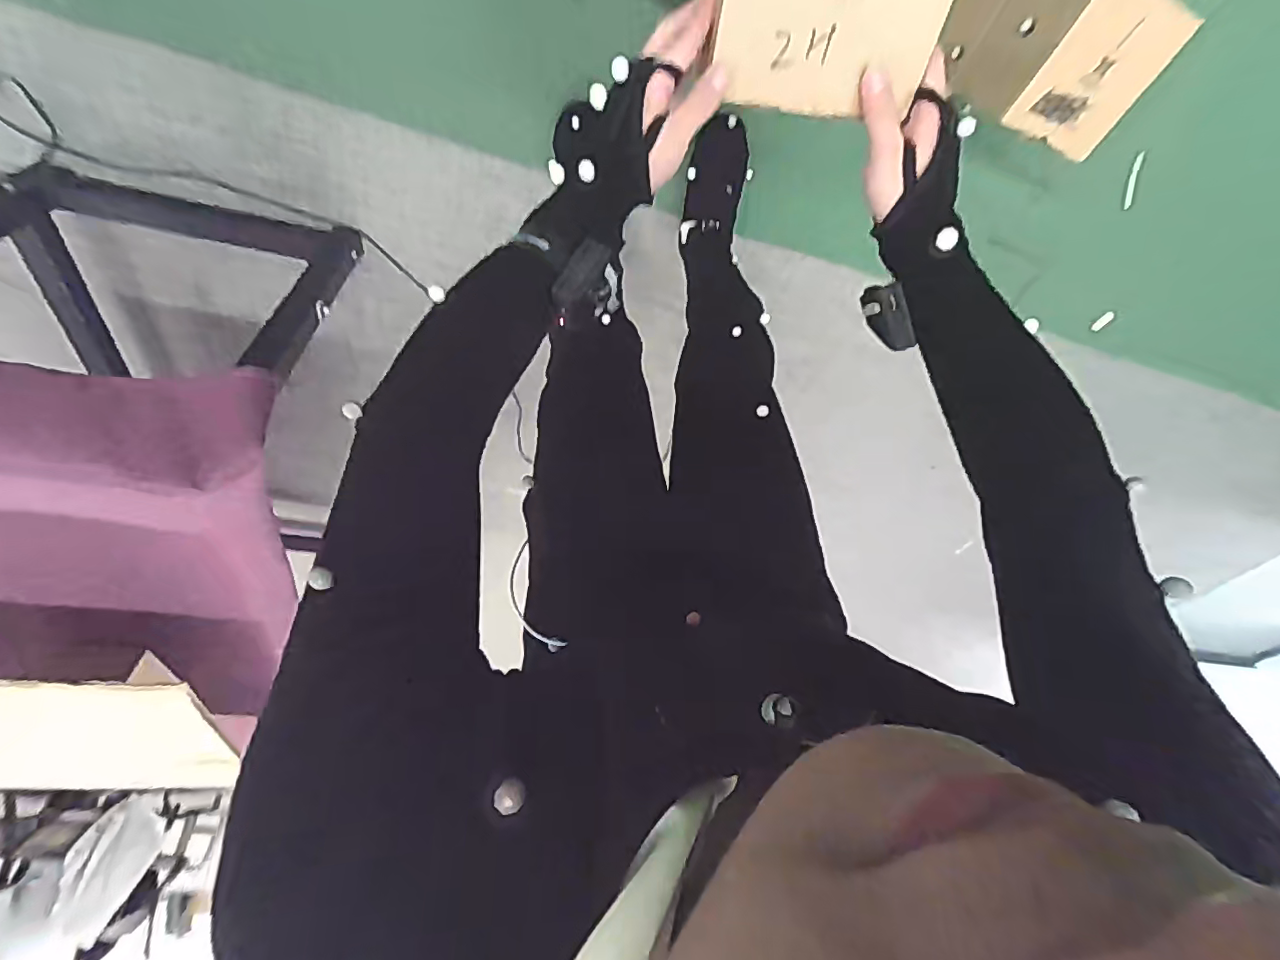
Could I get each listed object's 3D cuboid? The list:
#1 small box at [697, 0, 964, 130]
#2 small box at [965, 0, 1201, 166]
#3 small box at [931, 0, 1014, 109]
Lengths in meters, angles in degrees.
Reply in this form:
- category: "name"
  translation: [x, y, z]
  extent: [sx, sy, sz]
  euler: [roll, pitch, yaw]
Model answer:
- category: "small box"
  translation: [0.144, -0.403, 0.421]
  extent: [0.168, 0.176, 0.179]
  euler: [4, 135, -6]
- category: "small box"
  translation: [0.609, -0.599, 0.777]
  extent: [0.168, 0.176, 0.179]
  euler: [12, 136, -18]
- category: "small box"
  translation: [0.601, -0.721, 0.886]
  extent: [0.168, 0.176, 0.179]
  euler: [11, 137, -16]
